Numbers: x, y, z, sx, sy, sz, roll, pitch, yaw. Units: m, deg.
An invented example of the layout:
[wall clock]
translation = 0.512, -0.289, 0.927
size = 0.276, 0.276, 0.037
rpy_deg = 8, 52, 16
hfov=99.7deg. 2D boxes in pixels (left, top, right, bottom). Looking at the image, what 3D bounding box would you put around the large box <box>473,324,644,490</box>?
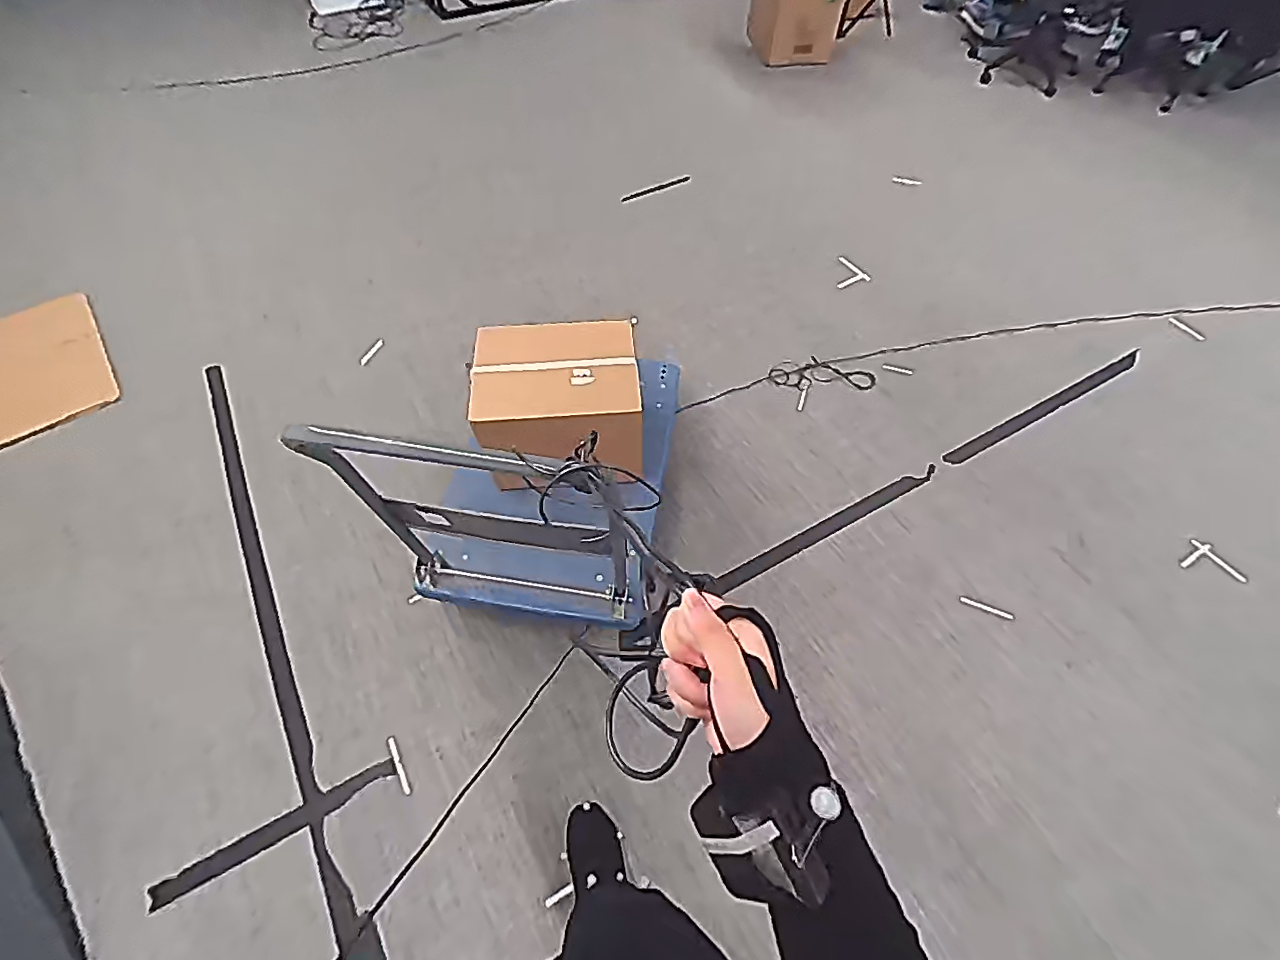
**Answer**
[large box]
translation = -0.207, -0.190, 1.456
size = 0.408, 0.320, 0.320
rpy_deg = -3, 58, -4
